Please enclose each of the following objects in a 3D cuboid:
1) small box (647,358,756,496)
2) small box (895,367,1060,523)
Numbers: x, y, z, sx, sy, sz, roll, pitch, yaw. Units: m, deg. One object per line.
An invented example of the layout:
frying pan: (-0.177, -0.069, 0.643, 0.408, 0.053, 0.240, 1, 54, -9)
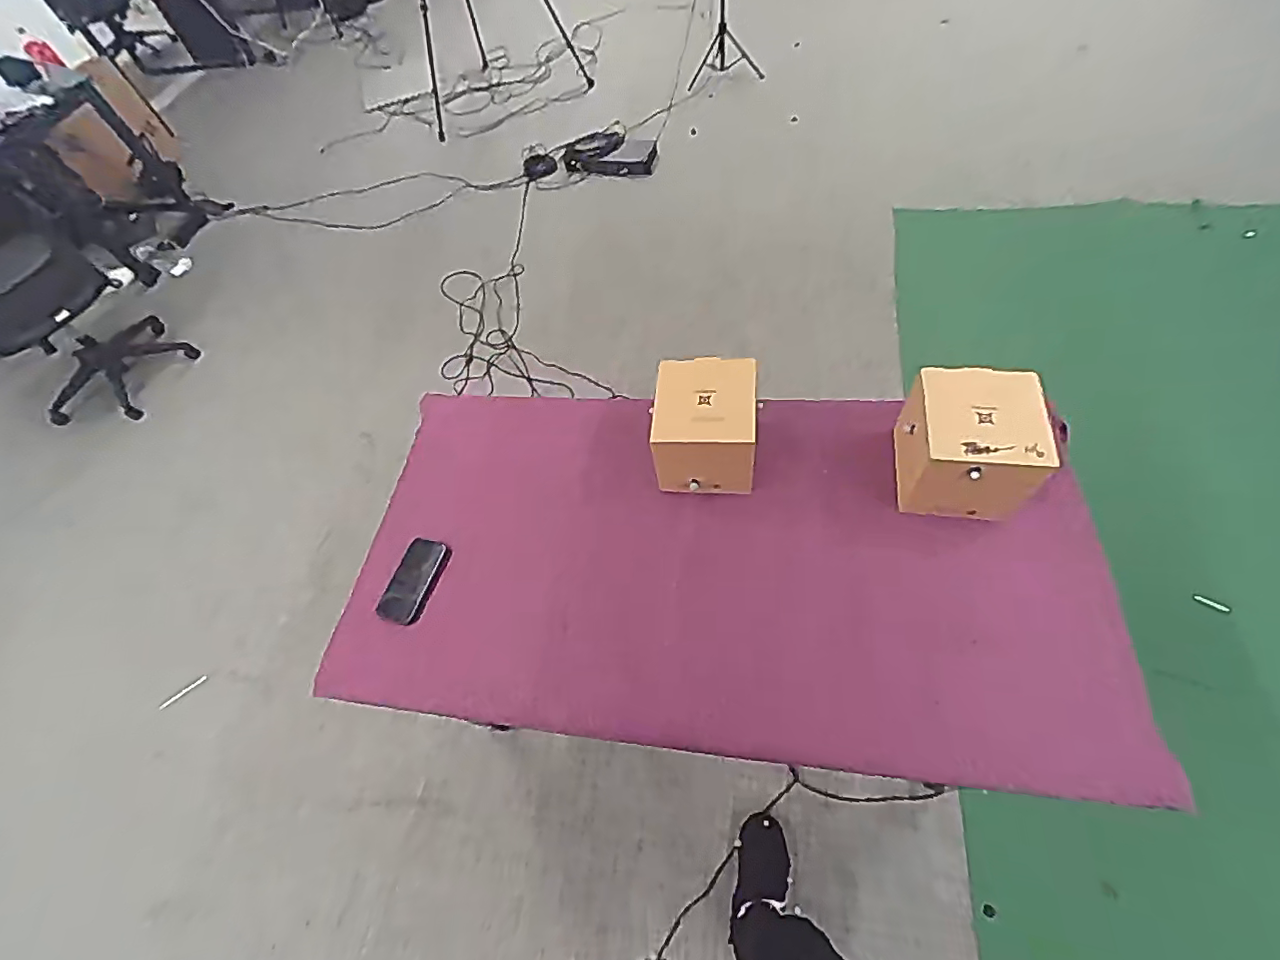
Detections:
small box: (0.112, -0.090, 0.940, 0.168, 0.176, 0.179, 2, 60, 11)
small box: (0.512, -0.054, 0.852, 0.168, 0.176, 0.179, 4, 59, 13)
